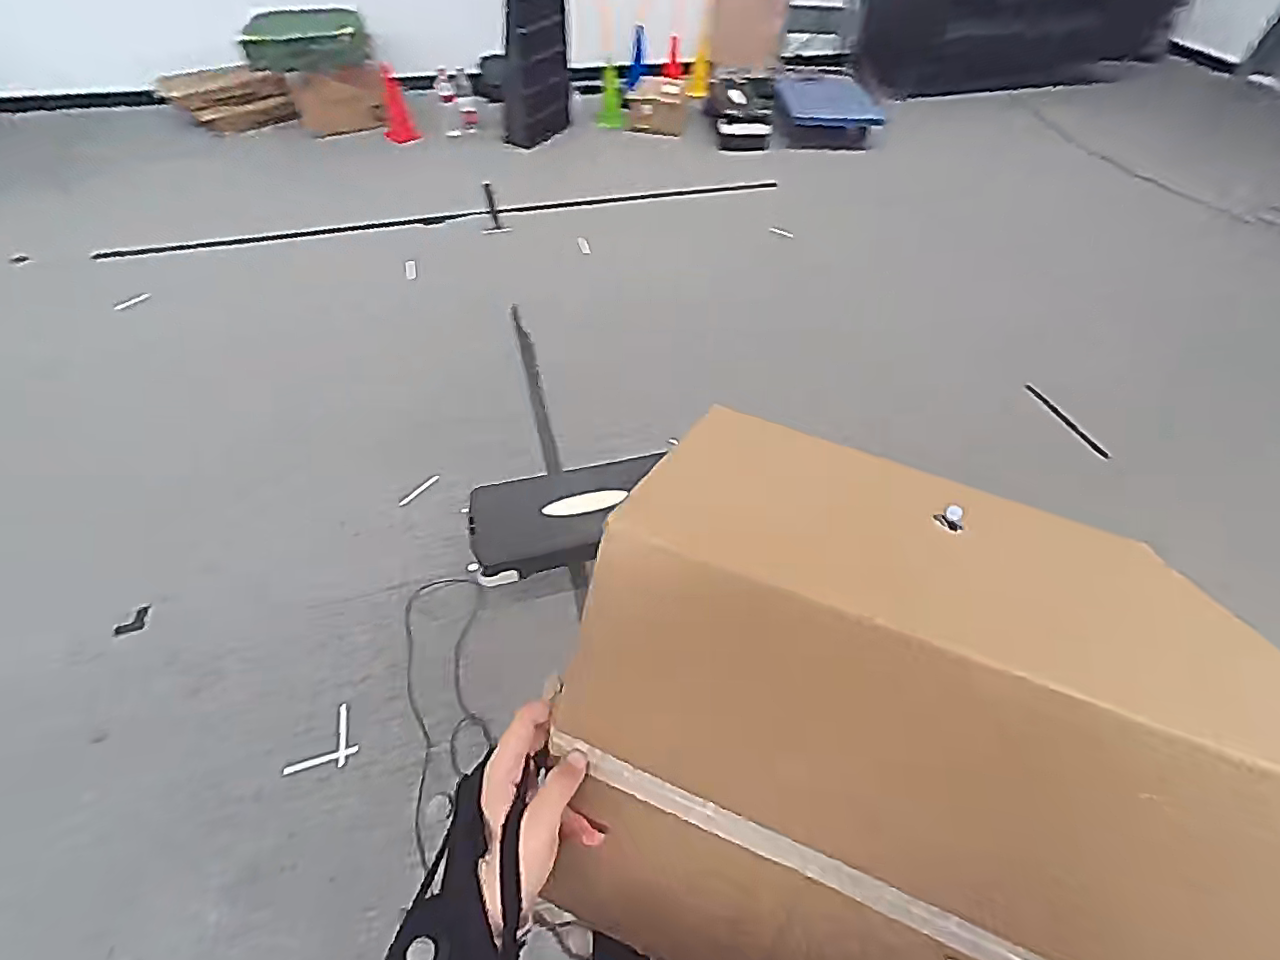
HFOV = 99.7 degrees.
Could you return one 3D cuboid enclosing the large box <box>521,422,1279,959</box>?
[{"bbox_3d":[0.165,0.174,0.446,0.408,0.320,0.320,18,24,10],"label":"large box"}]
